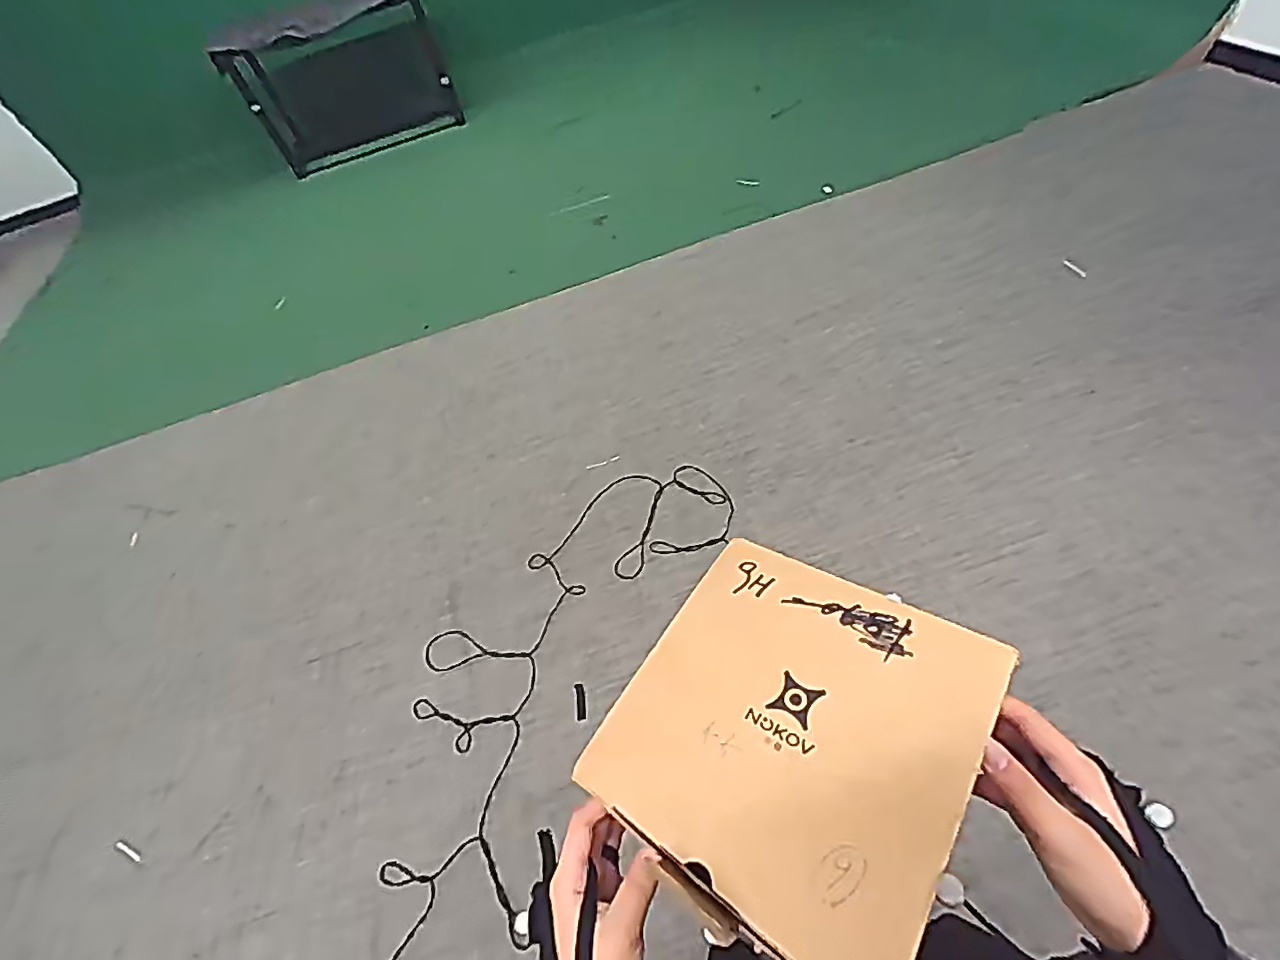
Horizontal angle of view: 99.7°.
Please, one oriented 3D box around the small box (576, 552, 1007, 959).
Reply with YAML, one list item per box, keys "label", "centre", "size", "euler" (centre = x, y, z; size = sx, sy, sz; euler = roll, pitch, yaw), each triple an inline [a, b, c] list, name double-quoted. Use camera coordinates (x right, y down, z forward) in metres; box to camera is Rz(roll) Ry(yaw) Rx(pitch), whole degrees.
- label: "small box"
  centre: [0.097, 0.183, 0.337]
  size: [0.168, 0.176, 0.179]
  euler: [21, 58, 35]
